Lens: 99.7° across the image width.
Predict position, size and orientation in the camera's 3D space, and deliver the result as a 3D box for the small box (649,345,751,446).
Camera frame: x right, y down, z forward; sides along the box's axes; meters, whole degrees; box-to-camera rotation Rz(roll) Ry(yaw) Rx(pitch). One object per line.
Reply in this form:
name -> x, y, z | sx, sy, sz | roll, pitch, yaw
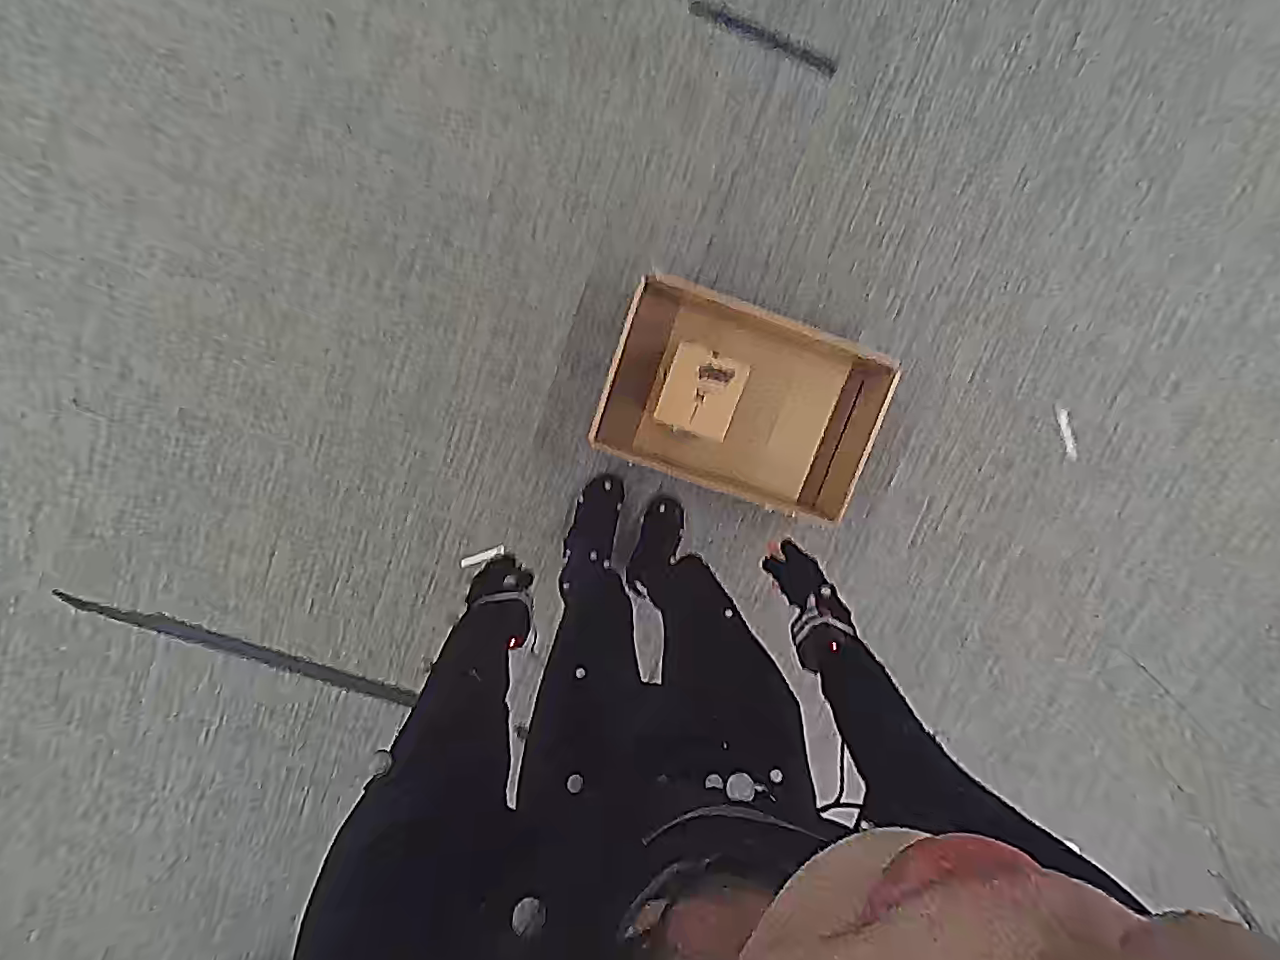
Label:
small box -> 0.127, -0.194, 1.236 | 0.168, 0.176, 0.179 | 19, 99, -8
